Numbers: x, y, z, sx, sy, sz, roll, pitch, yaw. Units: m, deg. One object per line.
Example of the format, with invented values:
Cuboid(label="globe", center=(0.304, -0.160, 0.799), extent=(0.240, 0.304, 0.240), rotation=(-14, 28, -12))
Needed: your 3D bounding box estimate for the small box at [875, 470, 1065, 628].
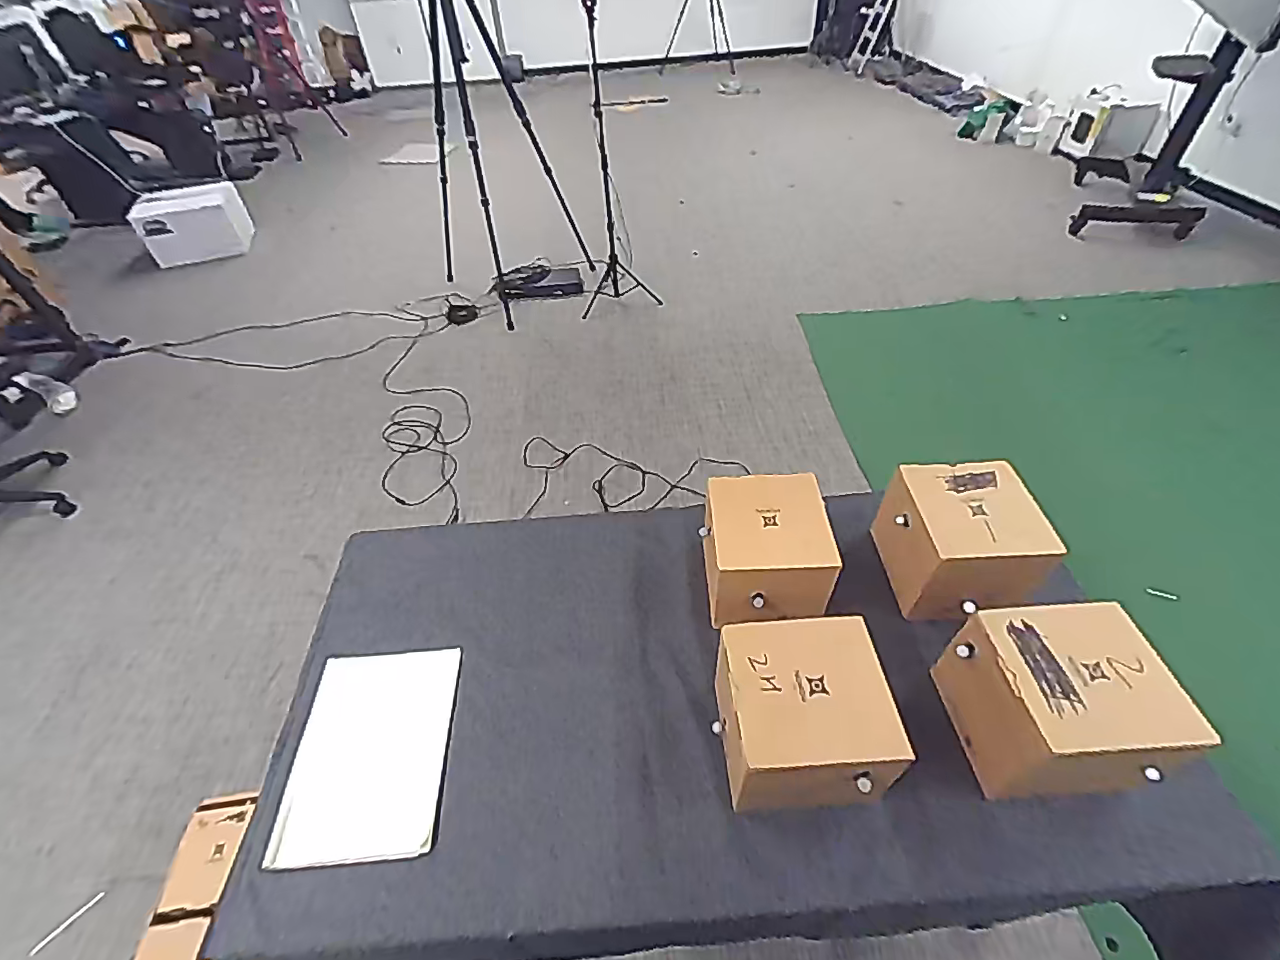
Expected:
Cuboid(label="small box", center=(0.479, 0.106, 0.824), extent=(0.168, 0.176, 0.179), rotation=(-3, 46, 3))

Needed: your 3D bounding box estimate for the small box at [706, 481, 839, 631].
Cuboid(label="small box", center=(0.190, 0.123, 0.833), extent=(0.168, 0.176, 0.179), rotation=(-2, 45, 2))

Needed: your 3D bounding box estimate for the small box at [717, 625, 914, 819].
Cuboid(label="small box", center=(0.193, 0.295, 0.658), extent=(0.179, 0.176, 0.168), rotation=(-4, 44, 1))
